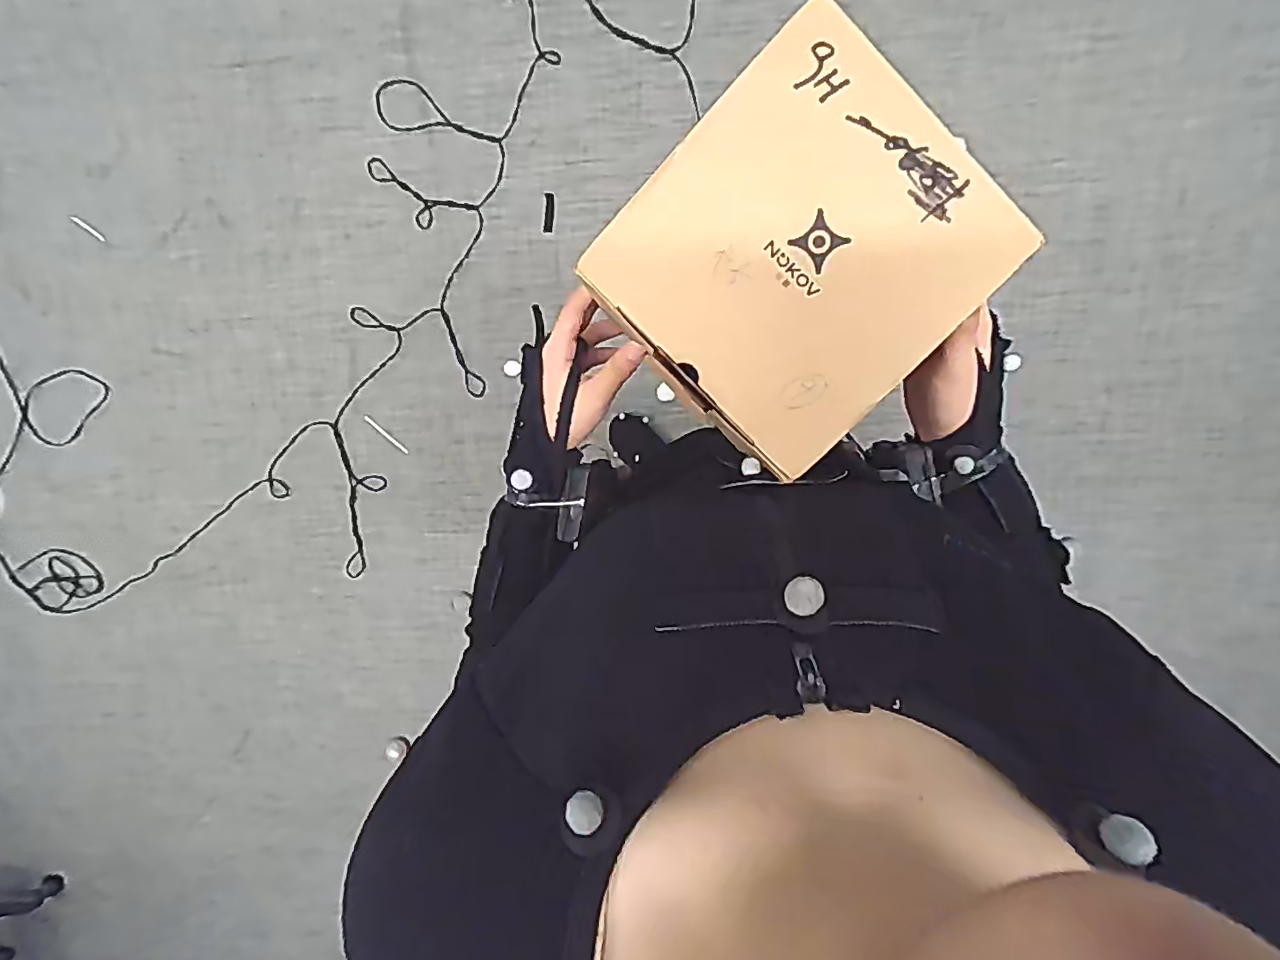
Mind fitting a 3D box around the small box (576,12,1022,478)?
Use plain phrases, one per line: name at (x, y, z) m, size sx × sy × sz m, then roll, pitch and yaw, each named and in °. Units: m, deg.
small box at (0.086, -0.128, 0.363) m, size 0.168 × 0.176 × 0.179 m, roll 44°, pitch 99°, yaw -5°
